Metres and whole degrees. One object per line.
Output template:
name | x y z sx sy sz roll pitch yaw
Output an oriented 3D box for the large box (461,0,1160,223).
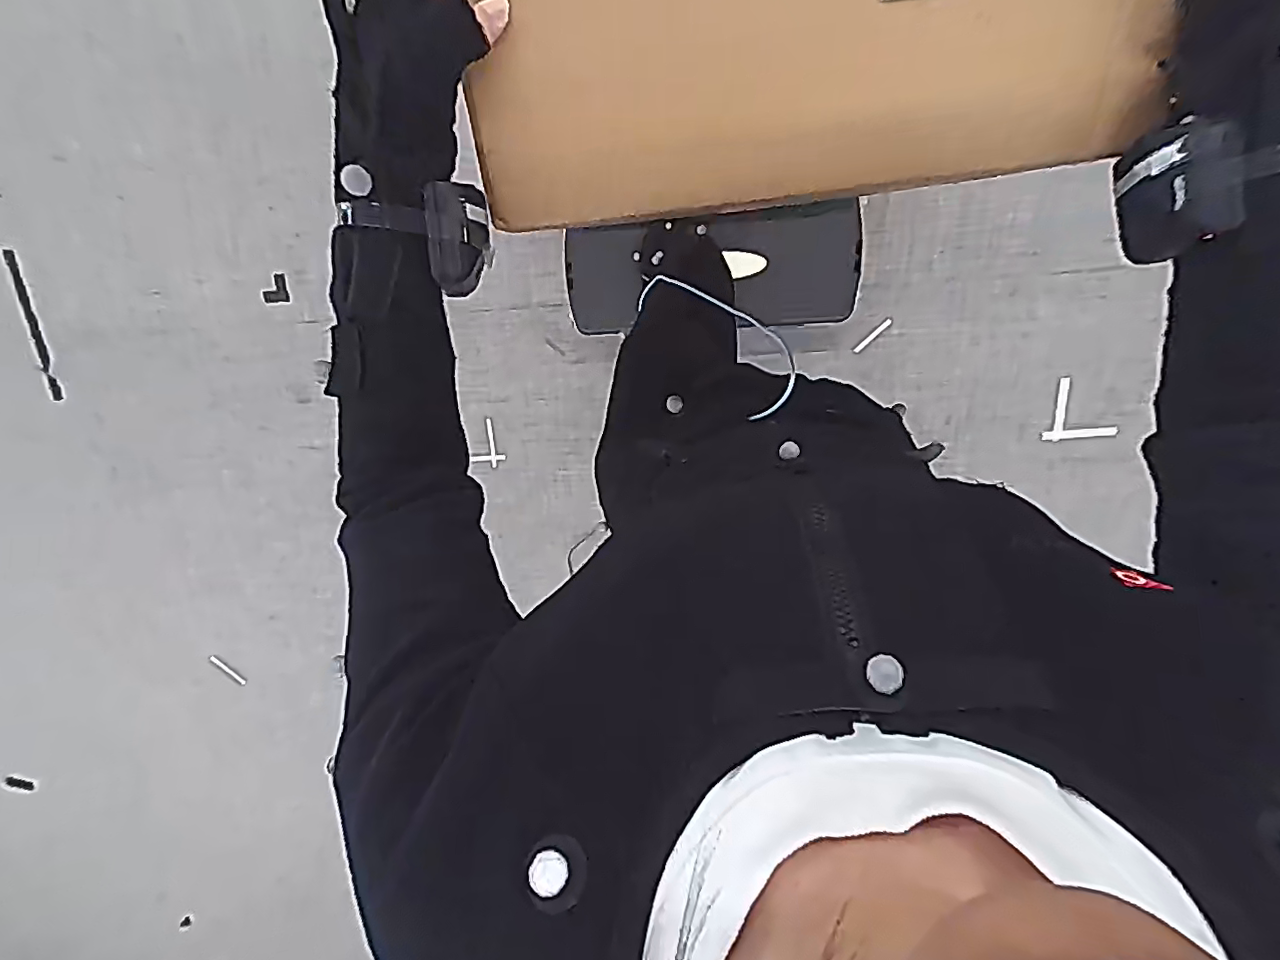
large box | 0.093 -0.397 0.422 0.408 0.320 0.320 -4 116 7
